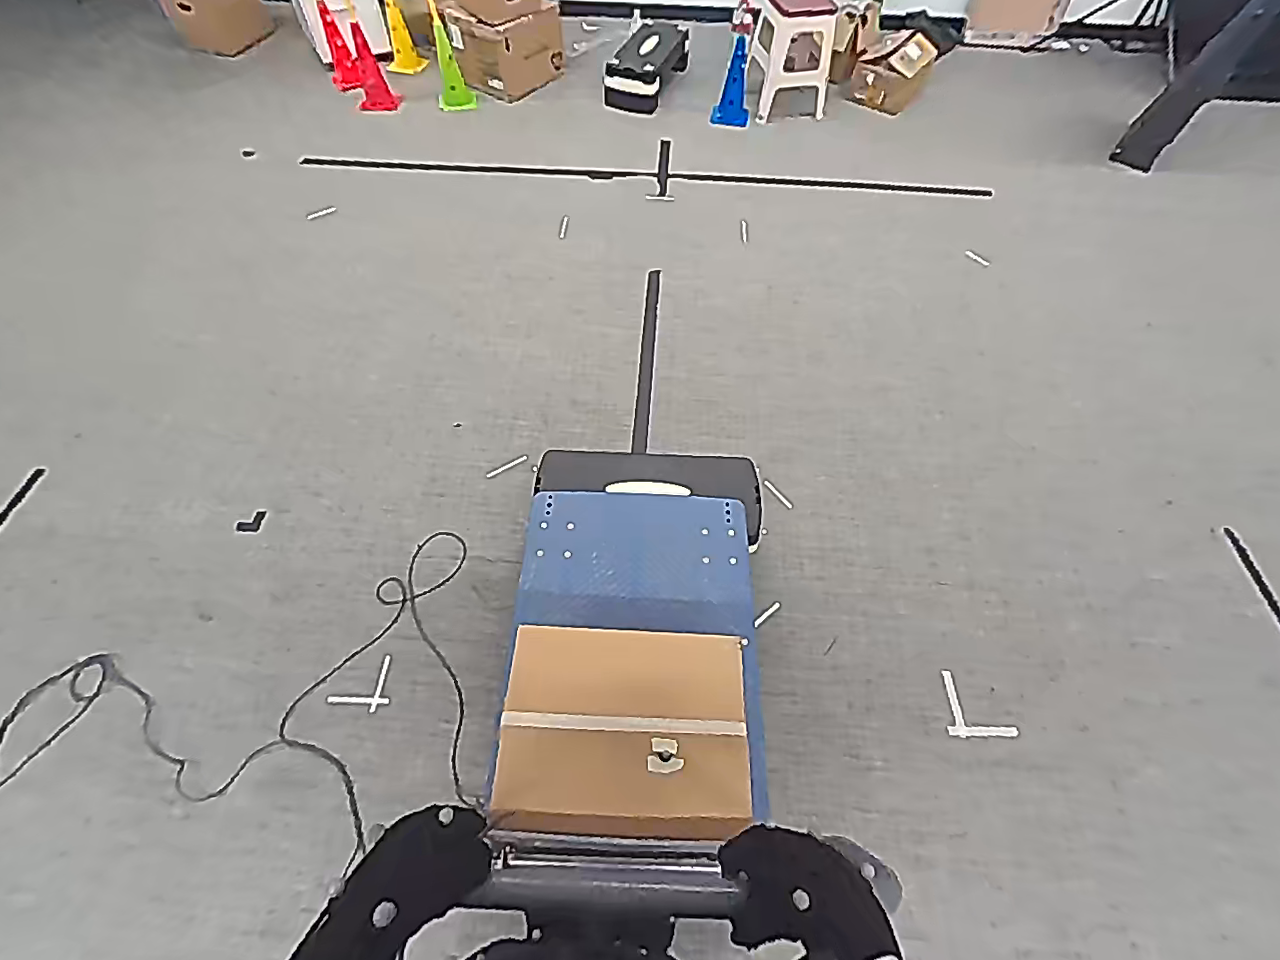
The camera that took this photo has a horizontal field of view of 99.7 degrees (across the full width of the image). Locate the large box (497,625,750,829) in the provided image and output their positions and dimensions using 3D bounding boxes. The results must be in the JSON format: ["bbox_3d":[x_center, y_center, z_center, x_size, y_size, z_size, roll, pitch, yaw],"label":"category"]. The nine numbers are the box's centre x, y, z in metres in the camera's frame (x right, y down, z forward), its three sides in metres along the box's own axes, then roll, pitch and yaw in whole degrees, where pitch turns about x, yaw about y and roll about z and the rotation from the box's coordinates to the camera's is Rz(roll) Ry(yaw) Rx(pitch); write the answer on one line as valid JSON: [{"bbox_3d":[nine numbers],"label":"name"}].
[{"bbox_3d":[-0.031,0.485,1.042,0.408,0.320,0.320,4,58,-2],"label":"large box"}]
